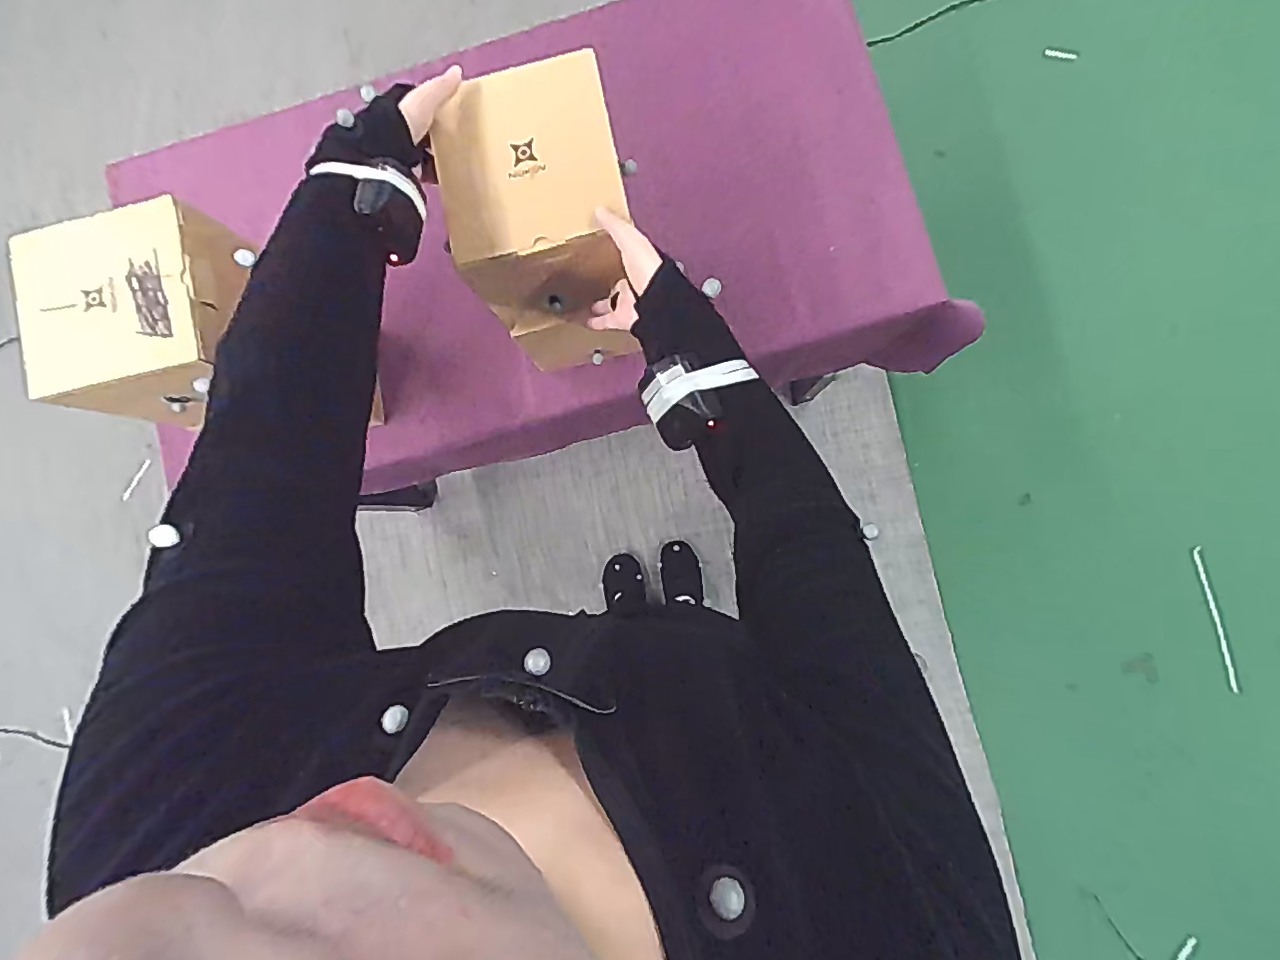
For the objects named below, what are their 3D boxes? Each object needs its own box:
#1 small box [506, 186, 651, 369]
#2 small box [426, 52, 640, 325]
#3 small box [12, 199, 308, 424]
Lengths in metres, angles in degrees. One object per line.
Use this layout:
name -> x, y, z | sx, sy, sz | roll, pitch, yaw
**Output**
small box -> -0.085, -0.266, 0.734 | 0.179, 0.176, 0.168 | -13, 85, 2
small box -> -0.099, -0.288, 0.572 | 0.168, 0.176, 0.179 | -12, 87, 3
small box -> -0.497, -0.167, 0.590 | 0.179, 0.176, 0.168 | -13, 86, 3
